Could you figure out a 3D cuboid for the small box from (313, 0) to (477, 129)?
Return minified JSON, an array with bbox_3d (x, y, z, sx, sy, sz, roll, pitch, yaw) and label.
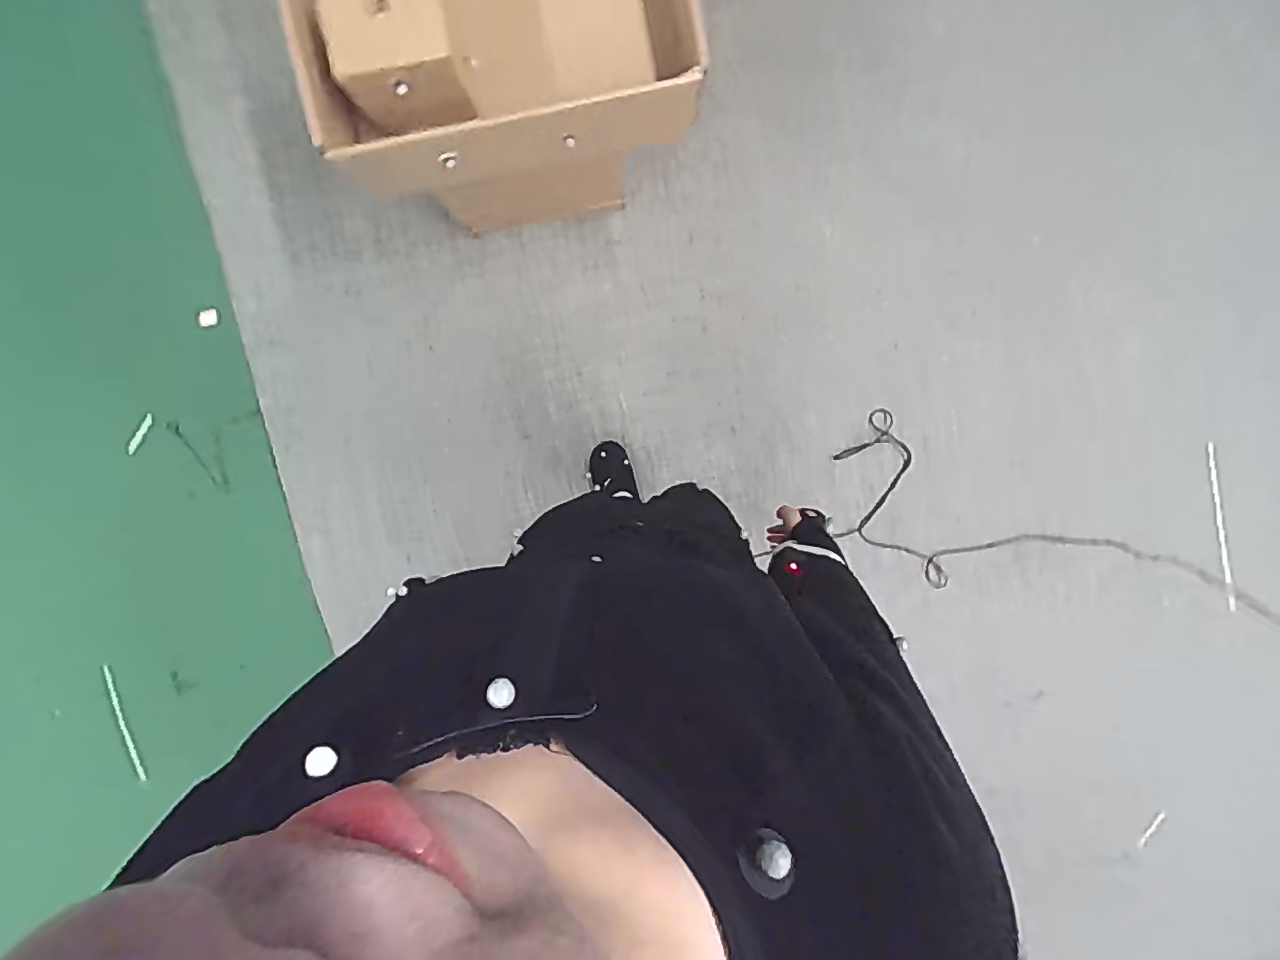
[{"bbox_3d":[-0.382,-0.693,0.858,0.179,0.176,0.168,-10,97,2],"label":"small box"}]
